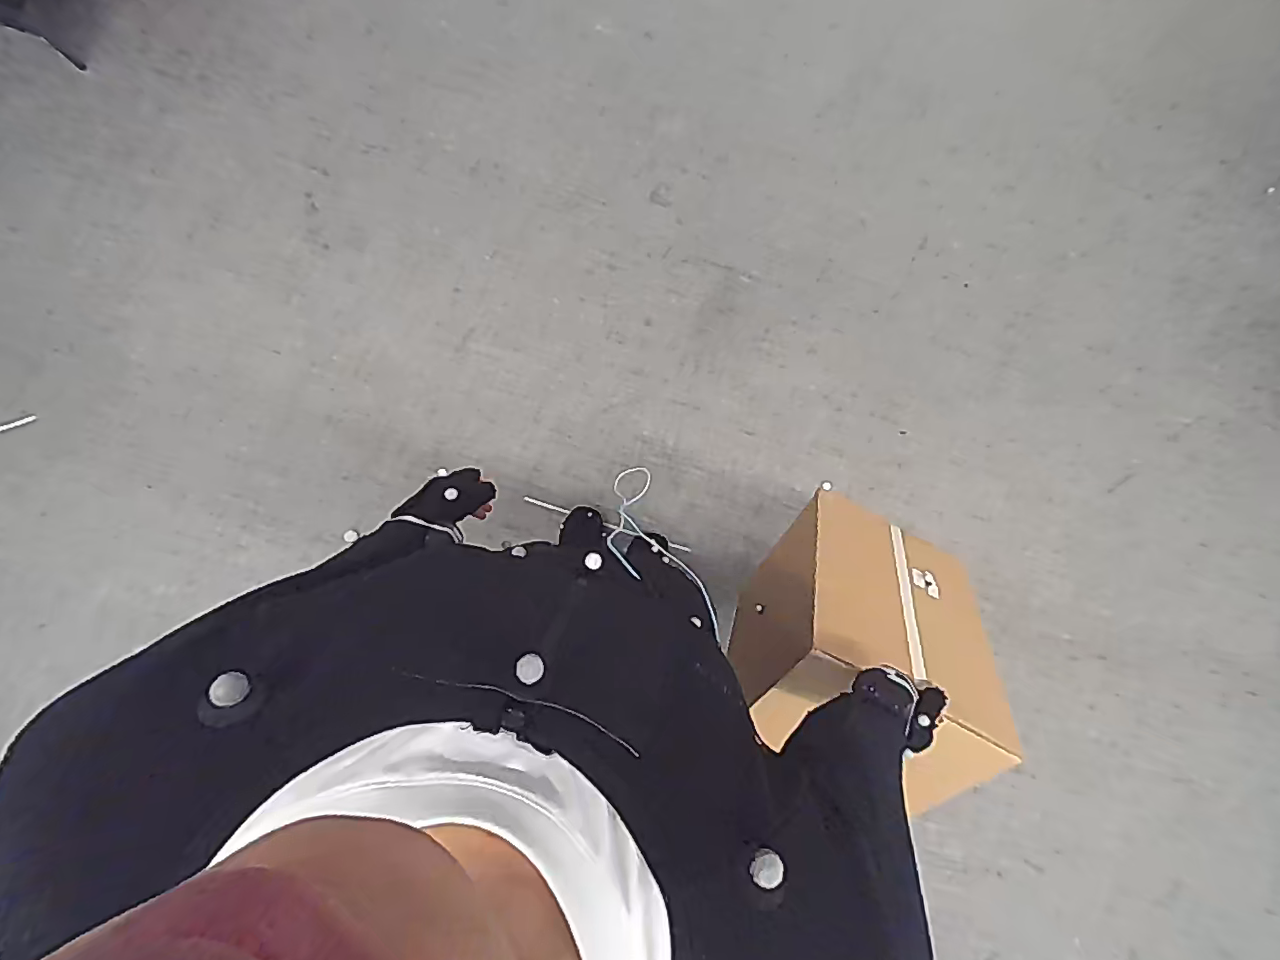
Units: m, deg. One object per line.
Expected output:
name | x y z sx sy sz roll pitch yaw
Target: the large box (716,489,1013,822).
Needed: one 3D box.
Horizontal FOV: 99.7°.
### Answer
large box | 0.363 0.296 0.967 0.320 0.408 0.320 29 126 0
